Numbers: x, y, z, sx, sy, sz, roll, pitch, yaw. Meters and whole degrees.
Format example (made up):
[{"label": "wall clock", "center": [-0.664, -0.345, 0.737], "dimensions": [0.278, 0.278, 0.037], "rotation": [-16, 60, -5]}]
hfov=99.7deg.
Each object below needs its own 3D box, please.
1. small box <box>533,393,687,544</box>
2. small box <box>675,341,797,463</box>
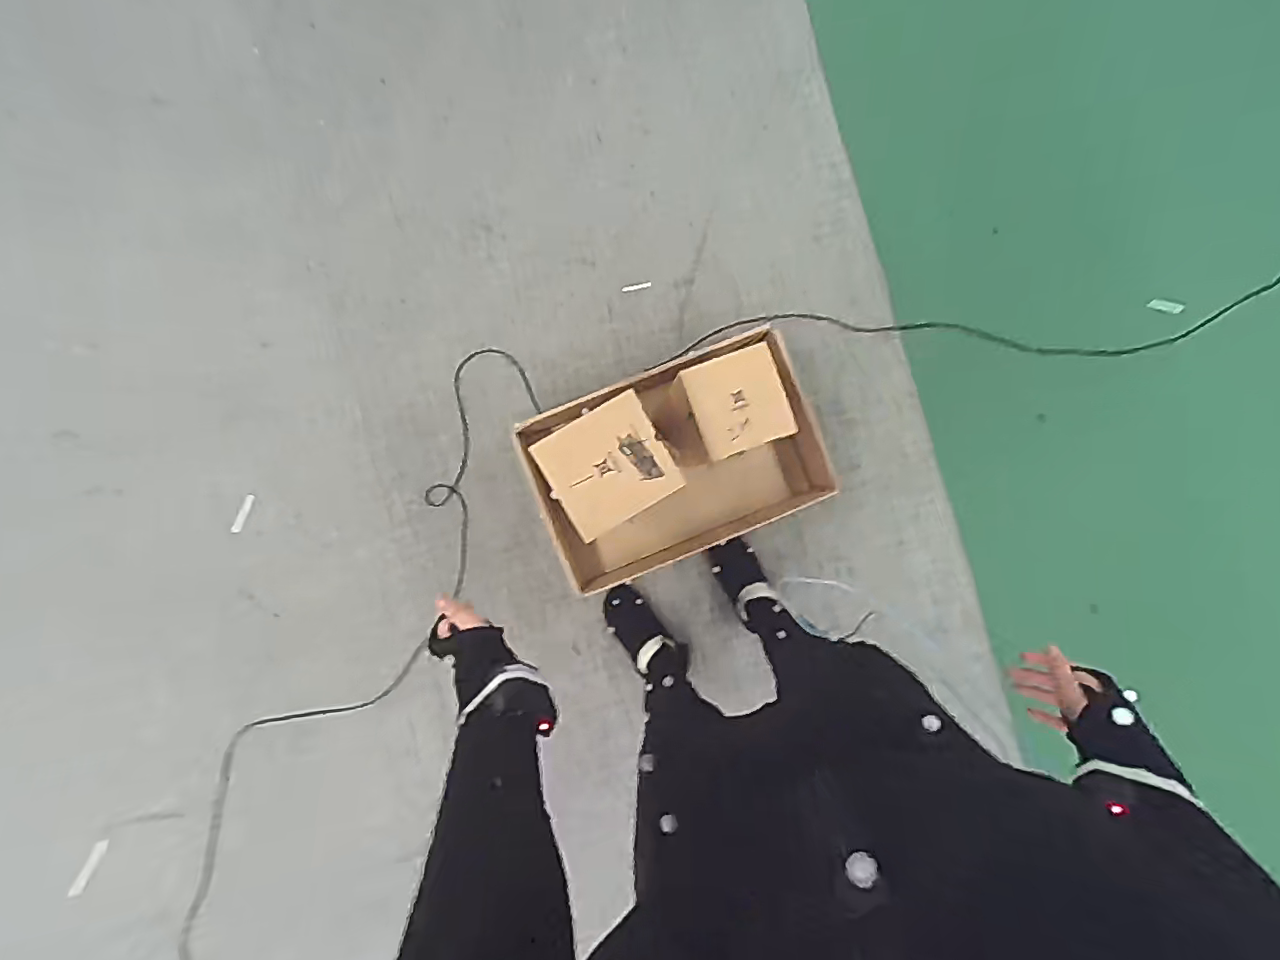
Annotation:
[{"label": "small box", "center": [-0.049, -0.019, 0.869], "dimensions": [0.179, 0.176, 0.168], "rotation": [-31, 91, -2]}, {"label": "small box", "center": [0.174, -0.140, 1.038], "dimensions": [0.168, 0.176, 0.179], "rotation": [-20, 91, -1]}]
